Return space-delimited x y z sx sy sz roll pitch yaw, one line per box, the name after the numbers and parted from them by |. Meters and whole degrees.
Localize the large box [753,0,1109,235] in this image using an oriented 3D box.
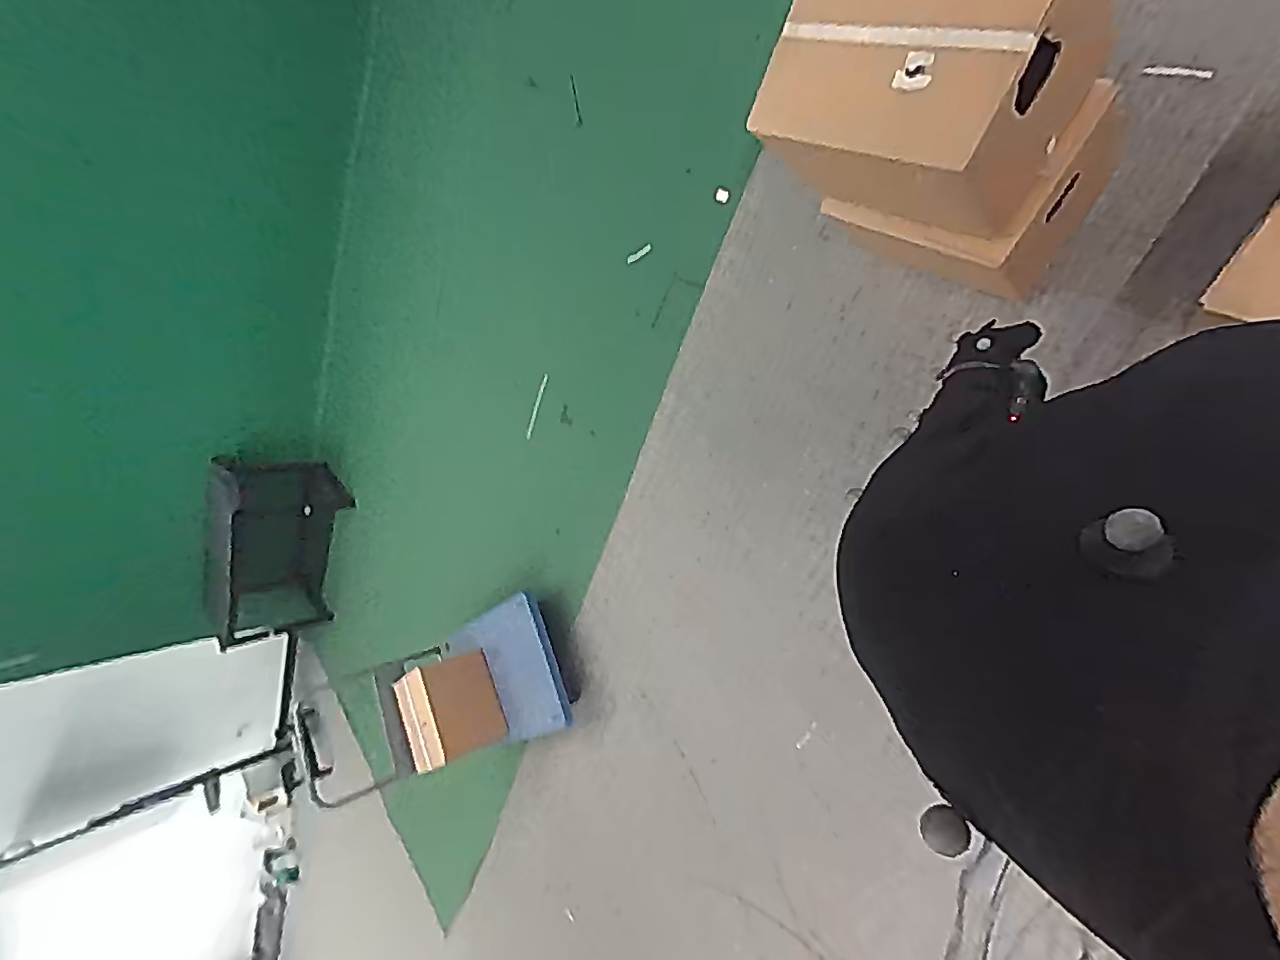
0.484 -0.670 0.931 0.408 0.320 0.320 38 114 33 | large box
